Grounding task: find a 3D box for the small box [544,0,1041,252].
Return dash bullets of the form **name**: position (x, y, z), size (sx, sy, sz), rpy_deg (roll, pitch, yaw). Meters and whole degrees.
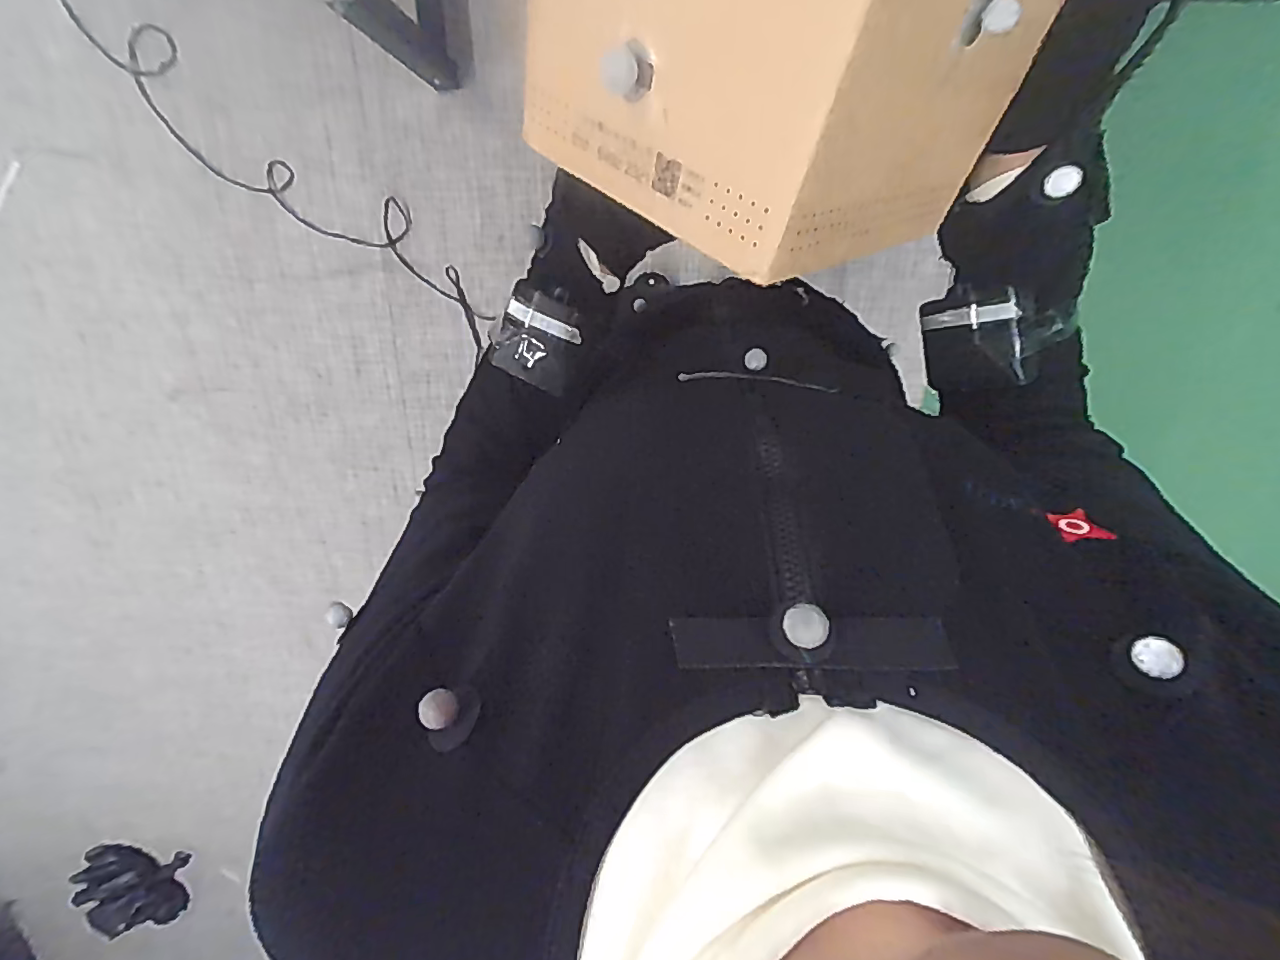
- **small box**: position (0.071, -0.229, 0.251), size (0.168, 0.179, 0.176), rpy_deg (42, 141, 26)
